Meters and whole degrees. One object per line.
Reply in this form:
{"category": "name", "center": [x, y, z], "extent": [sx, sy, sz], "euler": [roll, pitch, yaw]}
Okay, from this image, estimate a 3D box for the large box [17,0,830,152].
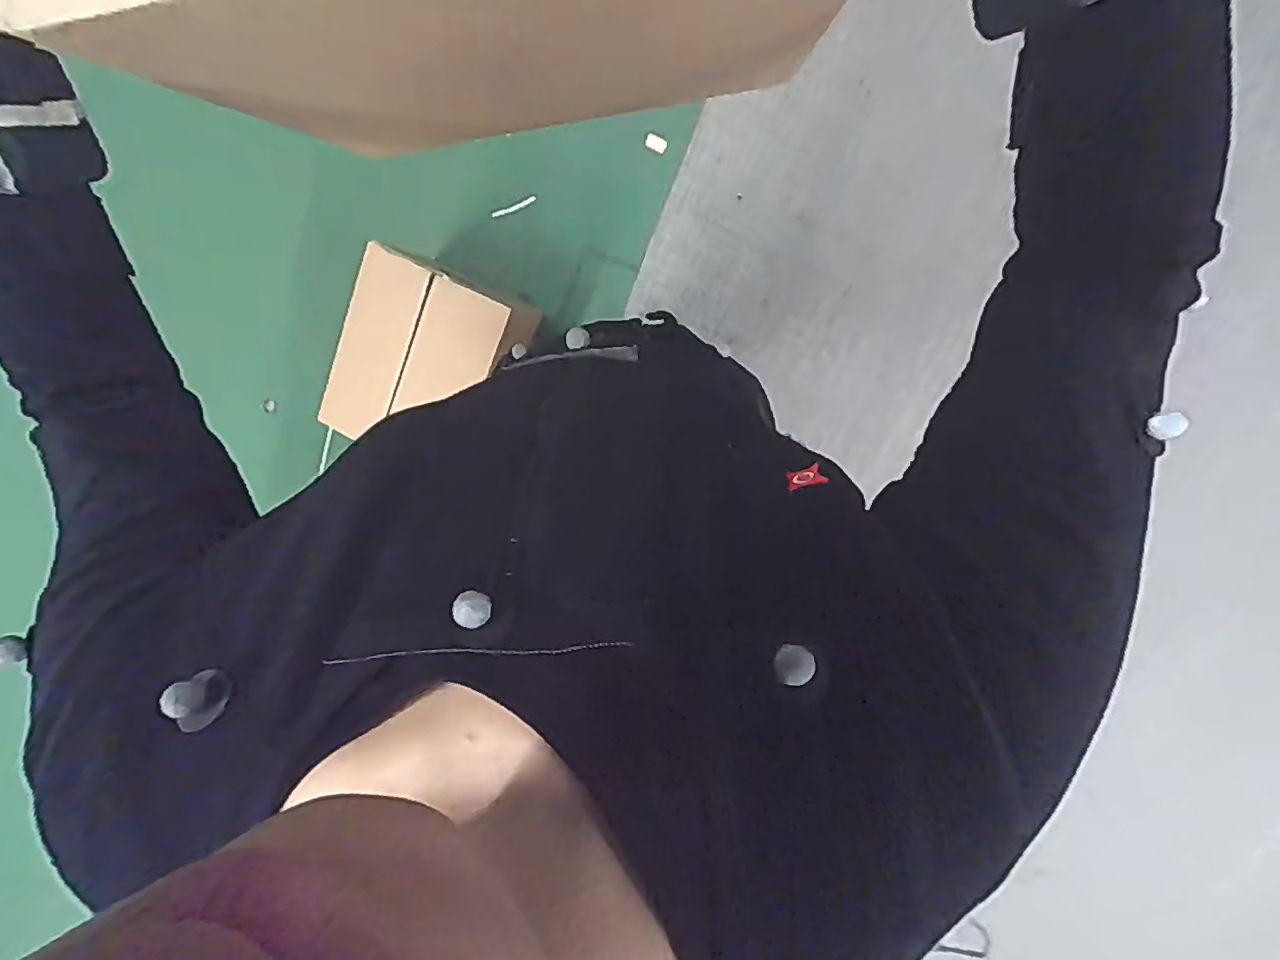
{"category": "large box", "center": [-0.091, -0.418, 0.300], "extent": [0.408, 0.320, 0.320], "euler": [-7, 112, 4]}
